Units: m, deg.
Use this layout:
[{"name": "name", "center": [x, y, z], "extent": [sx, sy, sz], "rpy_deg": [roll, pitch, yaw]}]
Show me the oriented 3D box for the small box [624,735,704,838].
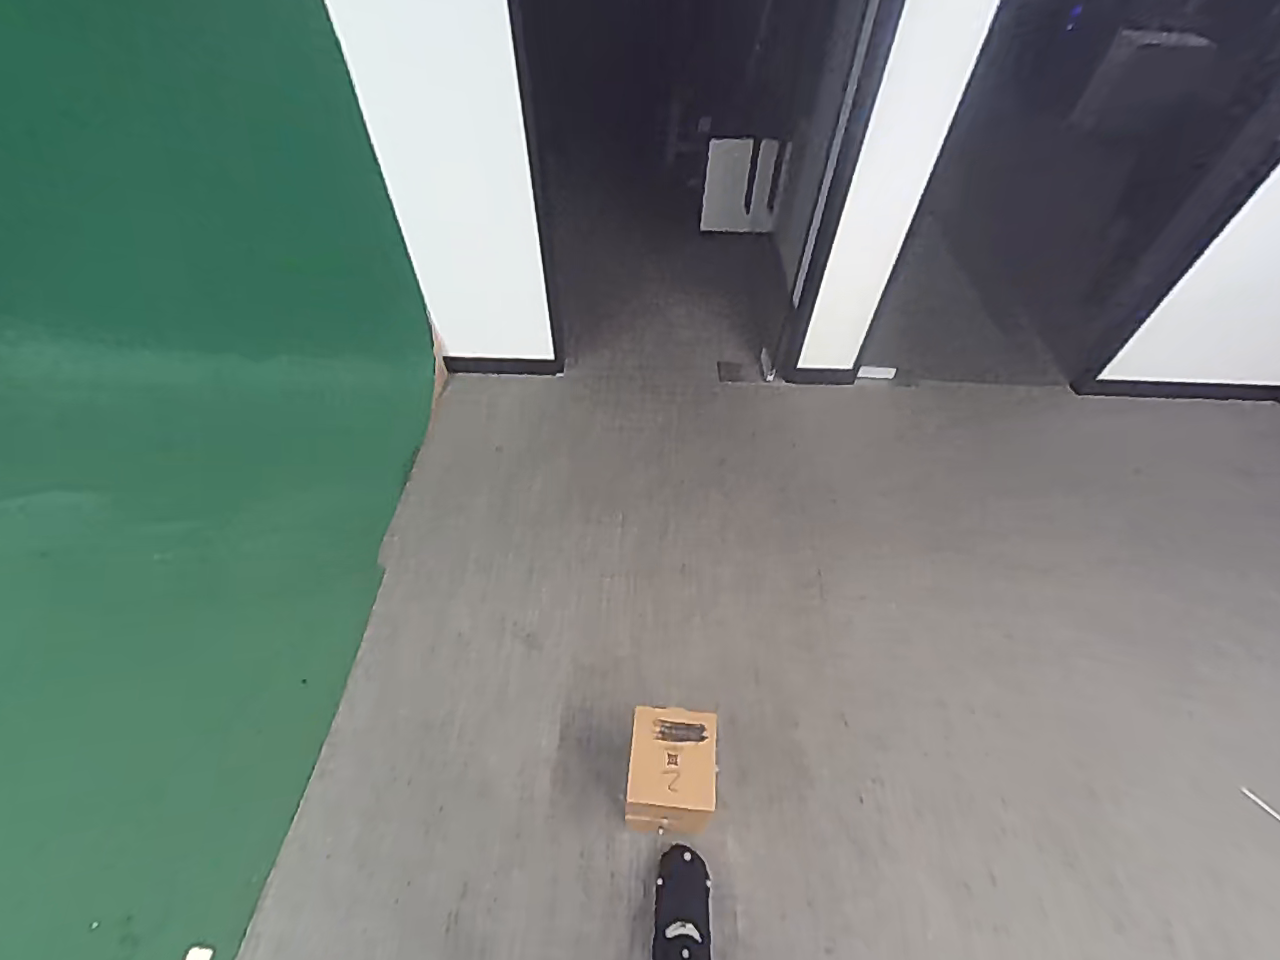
[{"name": "small box", "center": [0.055, 0.697, 1.222], "extent": [0.168, 0.176, 0.179], "rpy_deg": [4, 51, 2]}]
